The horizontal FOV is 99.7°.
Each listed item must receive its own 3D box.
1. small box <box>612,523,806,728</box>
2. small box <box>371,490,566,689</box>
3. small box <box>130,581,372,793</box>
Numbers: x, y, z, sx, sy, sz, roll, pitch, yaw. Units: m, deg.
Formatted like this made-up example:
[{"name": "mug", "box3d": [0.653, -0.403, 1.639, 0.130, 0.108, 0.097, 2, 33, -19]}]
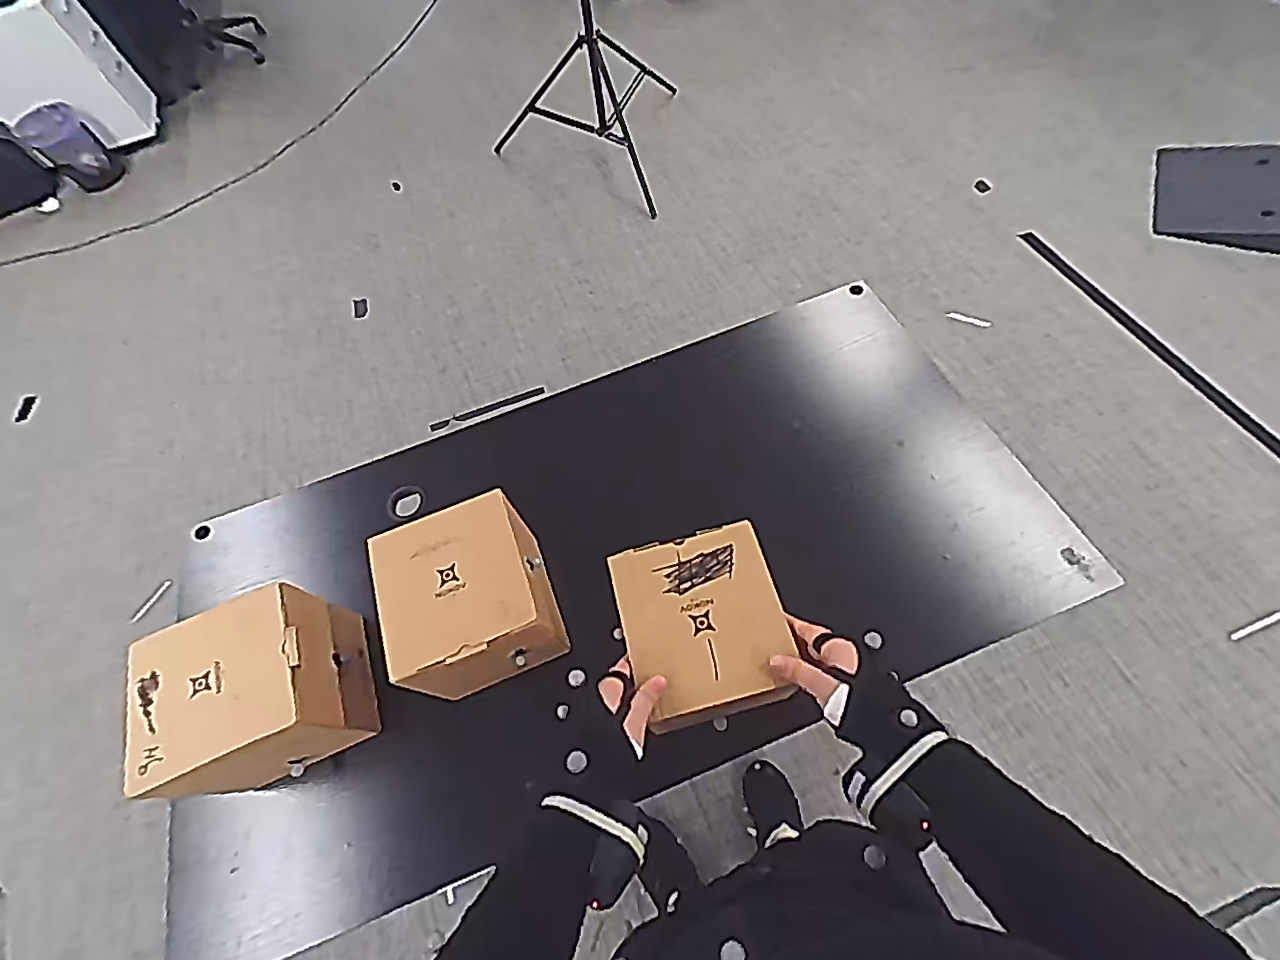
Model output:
[{"name": "small box", "box3d": [0.070, 0.175, 0.629, 0.168, 0.176, 0.179, -14, 63, -1]}, {"name": "small box", "box3d": [-0.205, 0.146, 0.676, 0.168, 0.176, 0.179, -21, 62, -7]}, {"name": "small box", "box3d": [-0.444, 0.247, 0.645, 0.179, 0.176, 0.168, -23, 62, -7]}]
